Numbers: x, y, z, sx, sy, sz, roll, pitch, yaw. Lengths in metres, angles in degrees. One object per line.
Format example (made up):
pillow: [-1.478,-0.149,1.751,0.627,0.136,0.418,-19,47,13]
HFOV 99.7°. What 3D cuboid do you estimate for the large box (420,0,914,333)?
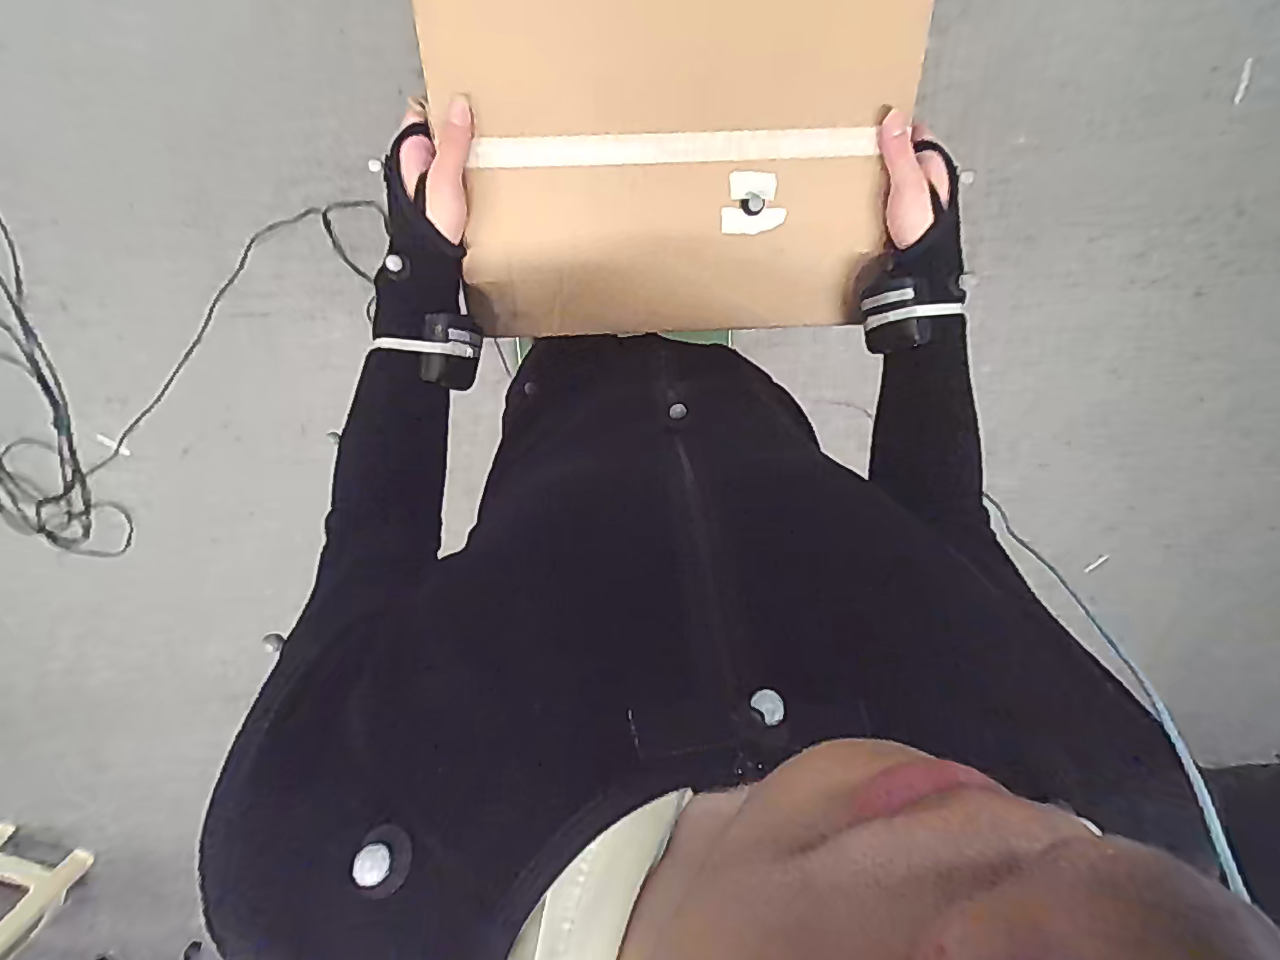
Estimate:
large box: [0.019,-0.361,0.608,0.408,0.320,0.320,-3,118,-3]
